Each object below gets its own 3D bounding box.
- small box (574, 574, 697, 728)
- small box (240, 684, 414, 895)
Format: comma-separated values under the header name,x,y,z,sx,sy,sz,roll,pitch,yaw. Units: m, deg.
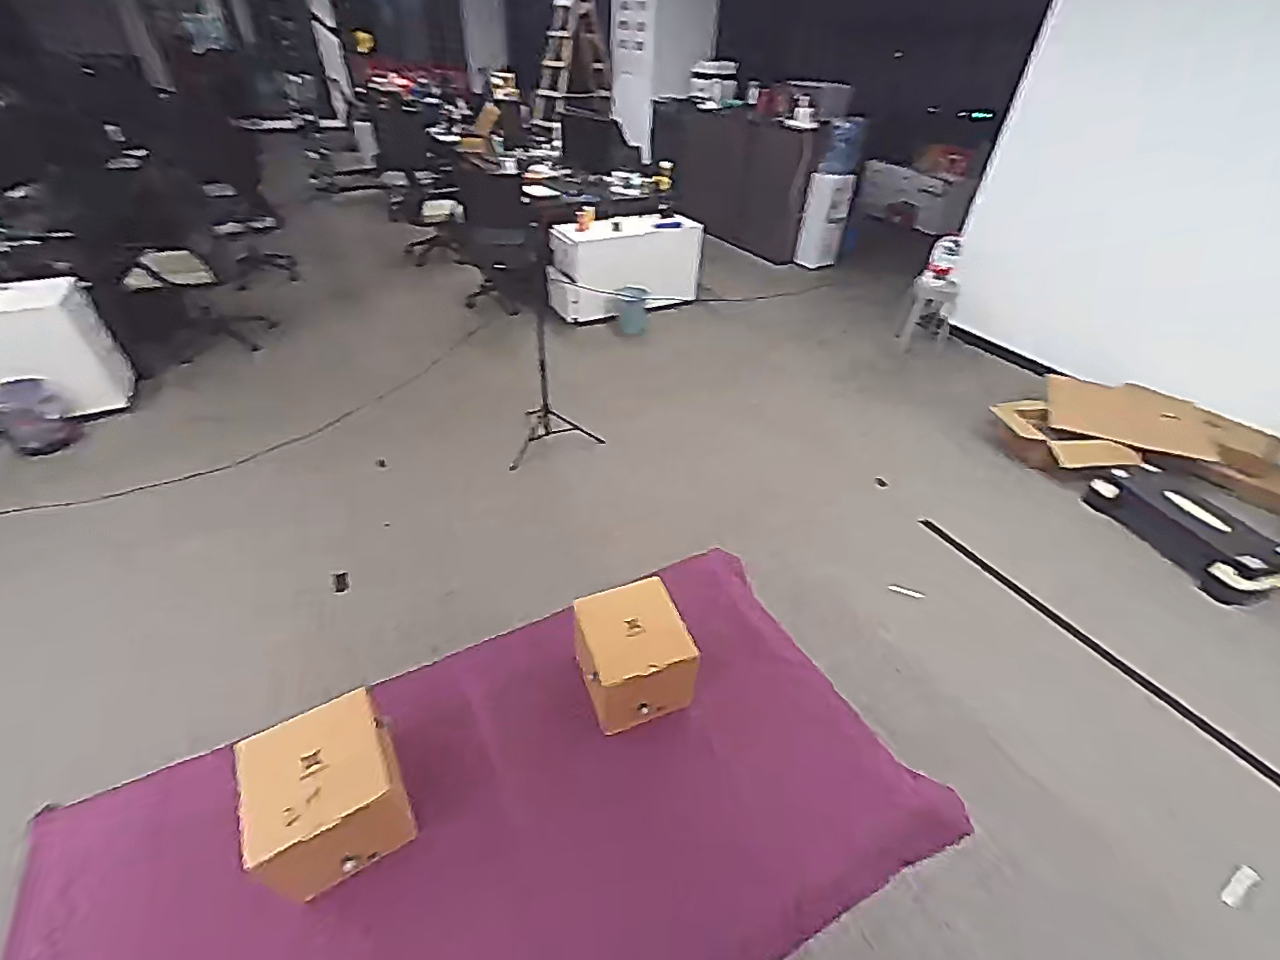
name,x,y,z,sx,sy,sz,roll,pitch,yaw
small box,-0.016,0.304,0.968,0.168,0.176,0.179,-13,43,-18
small box,-0.443,0.439,0.774,0.168,0.176,0.179,-20,45,-26
